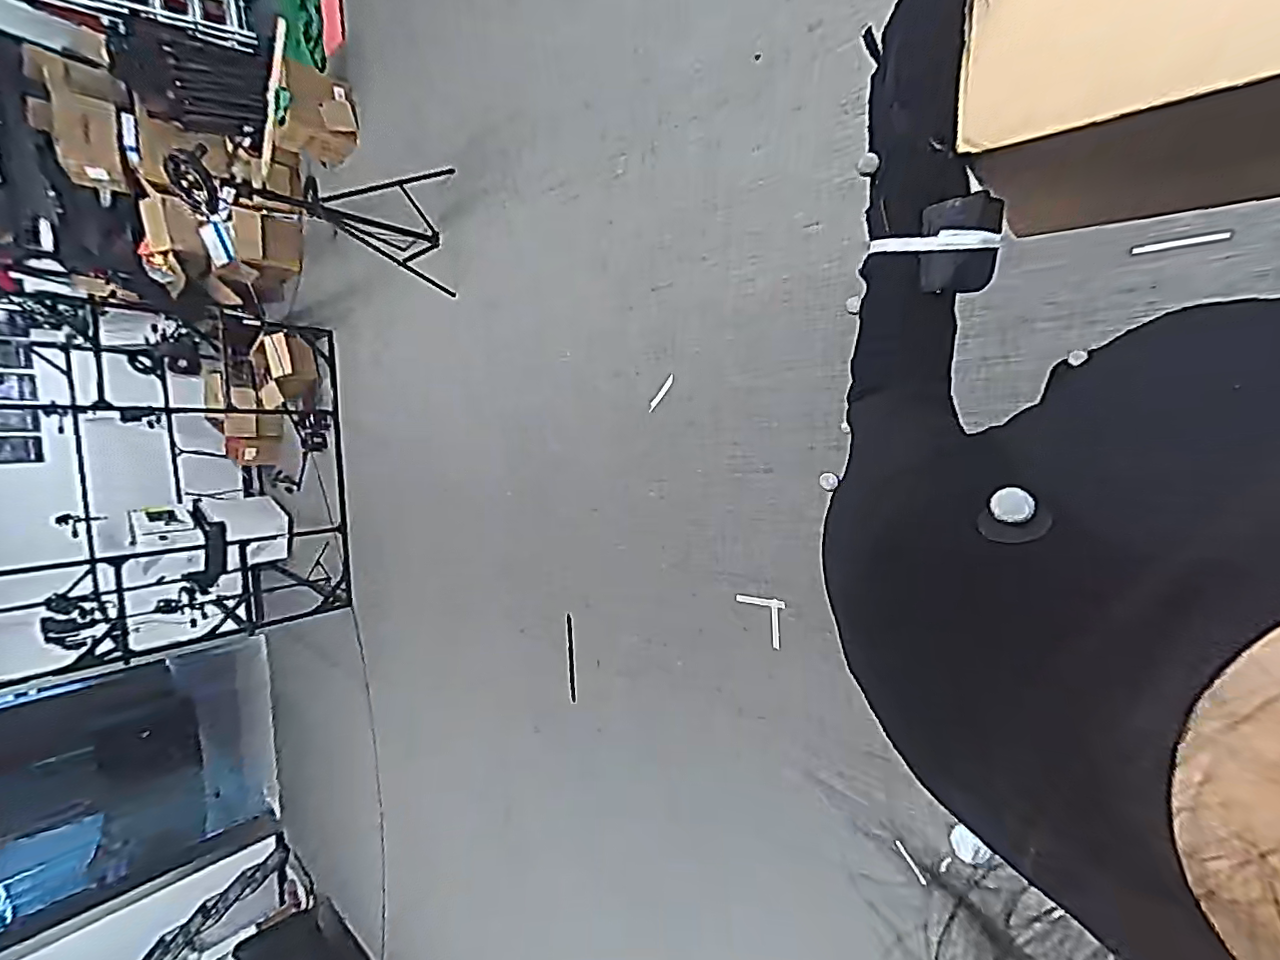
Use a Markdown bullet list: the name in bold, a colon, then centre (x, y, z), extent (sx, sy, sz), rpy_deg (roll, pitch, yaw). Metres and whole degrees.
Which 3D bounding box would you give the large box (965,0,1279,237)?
- **large box**: centre (0.471, -0.388, 0.352), extent (0.408, 0.320, 0.320), rpy_deg (6, 103, 39)
